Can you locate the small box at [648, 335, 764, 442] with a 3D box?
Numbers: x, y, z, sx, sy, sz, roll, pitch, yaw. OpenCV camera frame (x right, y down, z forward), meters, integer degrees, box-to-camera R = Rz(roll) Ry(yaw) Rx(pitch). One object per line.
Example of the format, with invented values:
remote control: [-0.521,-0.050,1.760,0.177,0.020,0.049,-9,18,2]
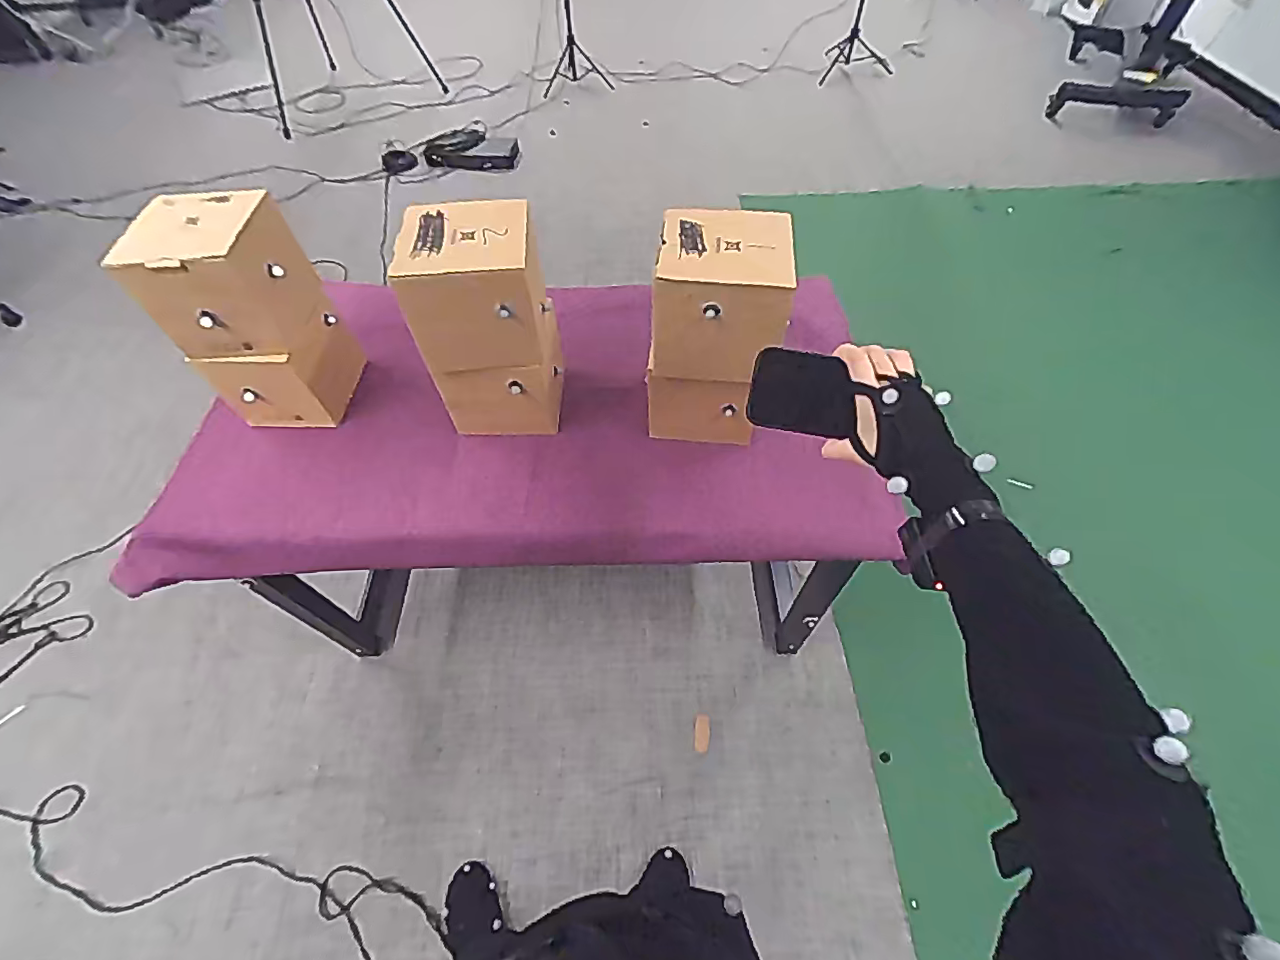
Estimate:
small box: [0.110,-0.180,0.912,0.179,0.176,0.168,5,55,6]

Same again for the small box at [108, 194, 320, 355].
small box: [-0.625,-0.305,0.826,0.168,0.176,0.179,-4,56,-1]

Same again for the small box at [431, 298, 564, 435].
small box: [-0.230,-0.191,0.930,0.179,0.176,0.168,-1,56,2]

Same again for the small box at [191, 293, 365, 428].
small box: [-0.620,-0.205,0.956,0.168,0.176,0.179,0,55,2]

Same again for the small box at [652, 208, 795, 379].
small box: [0.113,-0.260,0.768,0.179,0.176,0.168,5,55,5]
